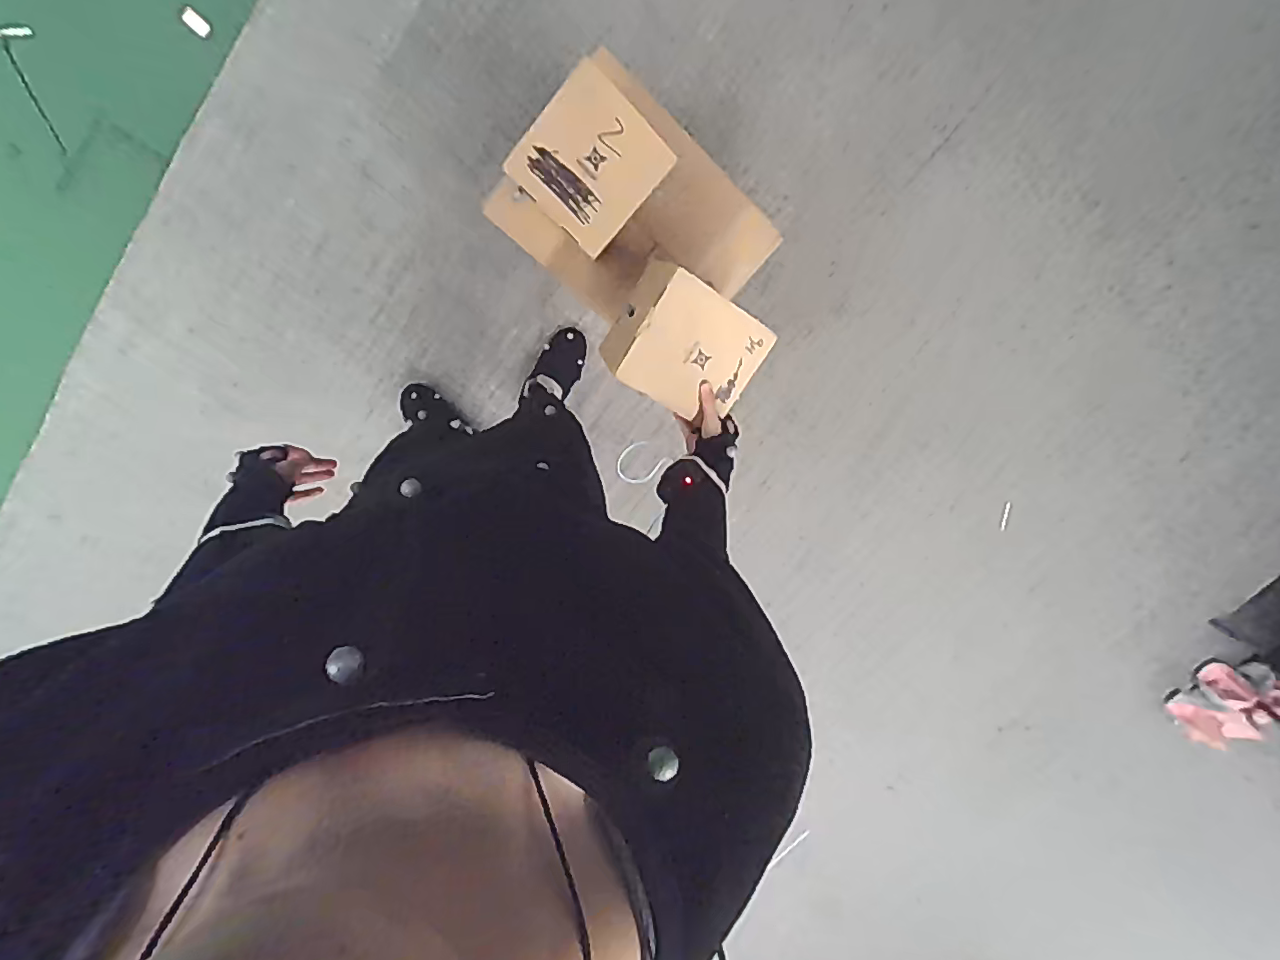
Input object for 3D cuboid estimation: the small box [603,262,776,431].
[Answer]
[{"bbox_3d":[0.060,-0.203,0.805,0.179,0.176,0.168,28,107,-21],"label":"small box"}]
